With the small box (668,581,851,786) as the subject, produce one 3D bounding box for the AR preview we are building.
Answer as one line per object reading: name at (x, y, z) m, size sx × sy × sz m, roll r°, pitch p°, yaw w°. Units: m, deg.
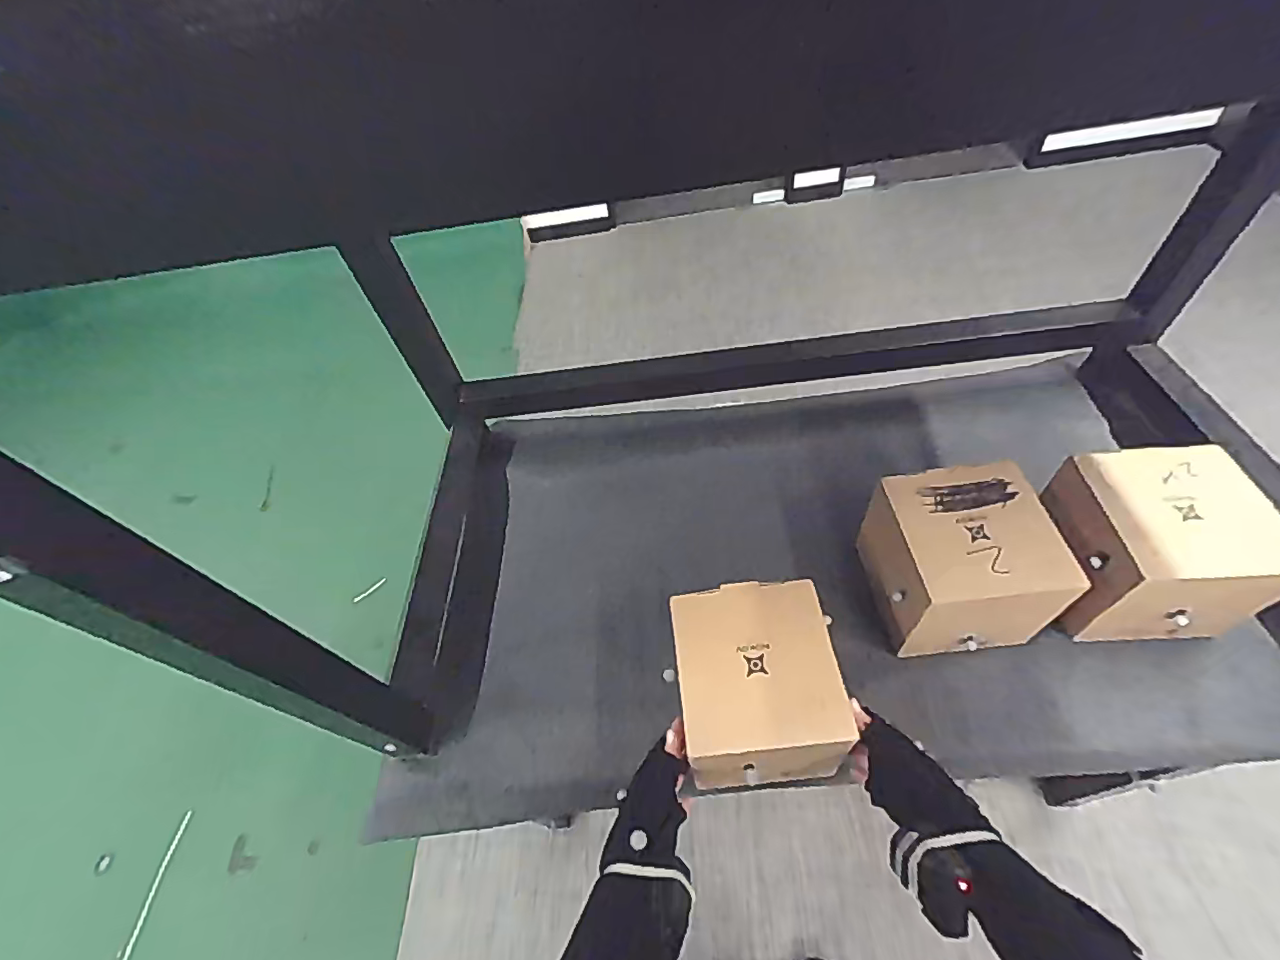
small box at (0.129, 0.243, 0.629) m, size 0.168 × 0.176 × 0.179 m, roll -8°, pitch 49°, yaw 4°
